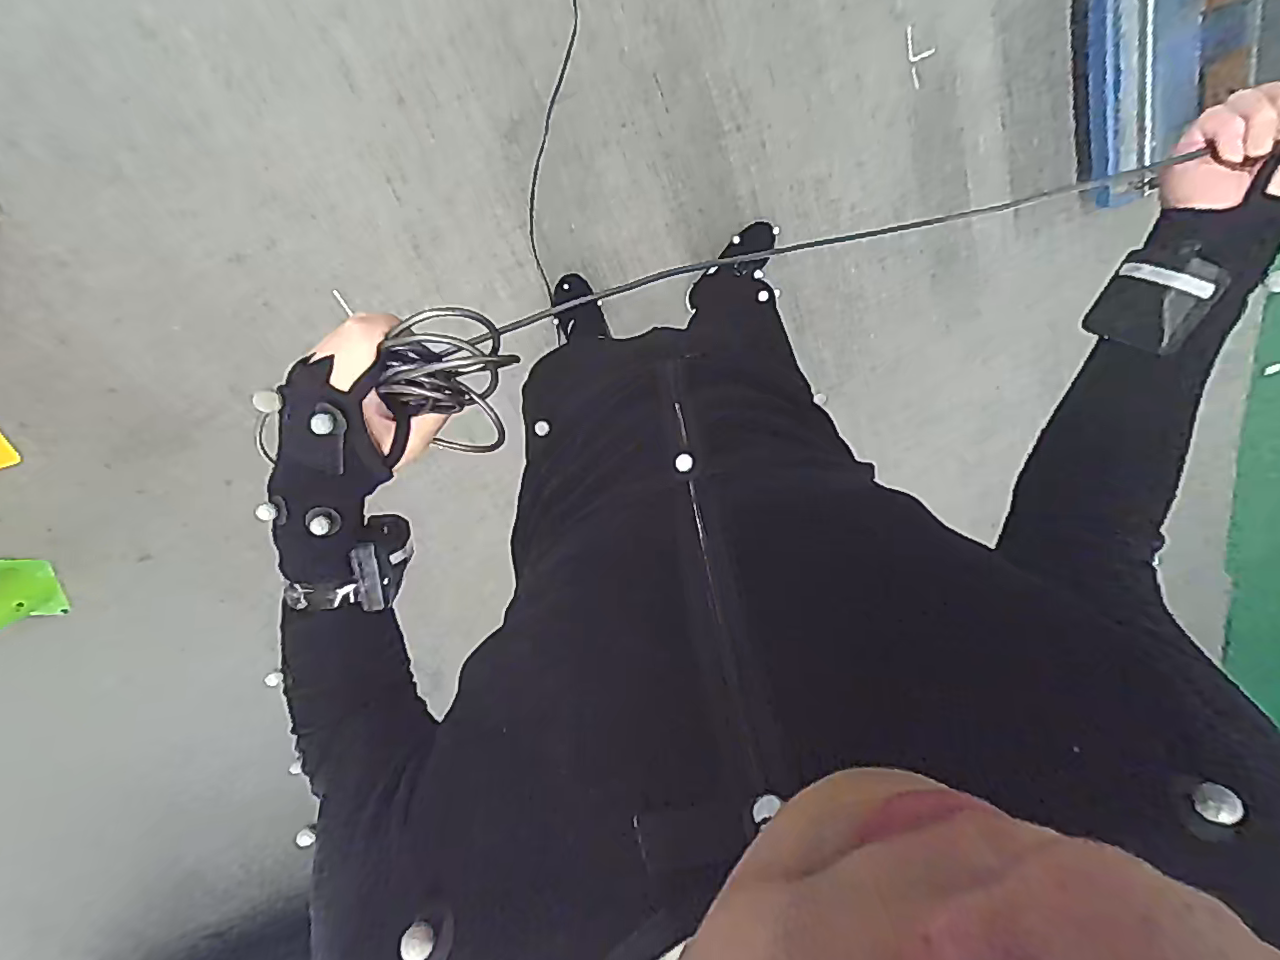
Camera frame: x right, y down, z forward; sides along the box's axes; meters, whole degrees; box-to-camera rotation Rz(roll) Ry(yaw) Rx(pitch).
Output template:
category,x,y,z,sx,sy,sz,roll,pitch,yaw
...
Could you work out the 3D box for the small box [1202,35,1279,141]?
category,x,y,z,sx,sy,sz,roll,pitch,yaw
small box,1.401,-0.866,1.177,0.179,0.176,0.168,-23,117,5
